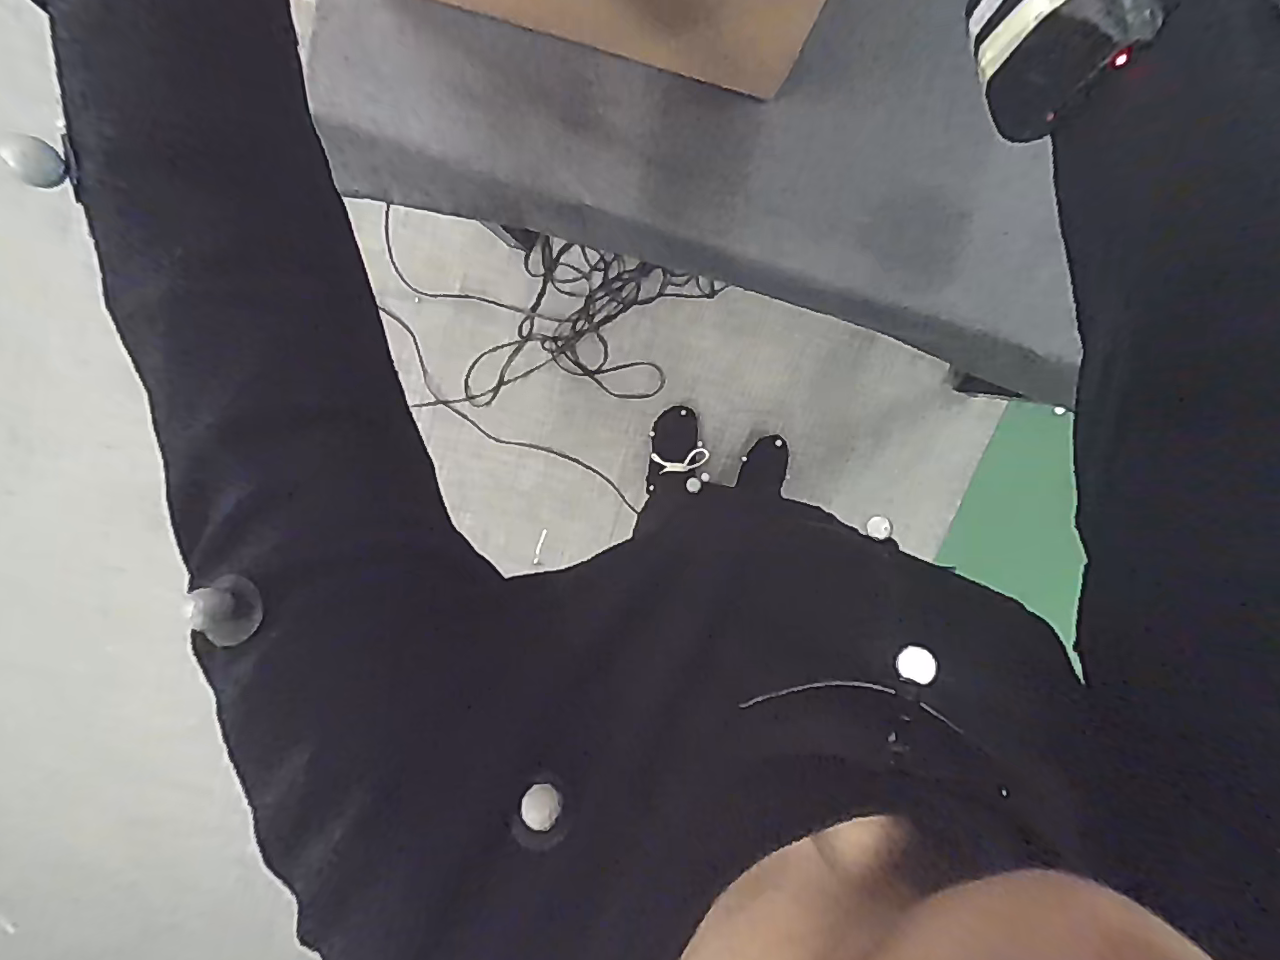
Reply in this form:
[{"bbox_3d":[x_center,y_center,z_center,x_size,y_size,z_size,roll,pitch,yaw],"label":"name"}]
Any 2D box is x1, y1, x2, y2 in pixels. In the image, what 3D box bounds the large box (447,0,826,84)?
[{"bbox_3d":[-0.020,-0.536,0.341,0.408,0.320,0.320,13,103,-4],"label":"large box"}]
